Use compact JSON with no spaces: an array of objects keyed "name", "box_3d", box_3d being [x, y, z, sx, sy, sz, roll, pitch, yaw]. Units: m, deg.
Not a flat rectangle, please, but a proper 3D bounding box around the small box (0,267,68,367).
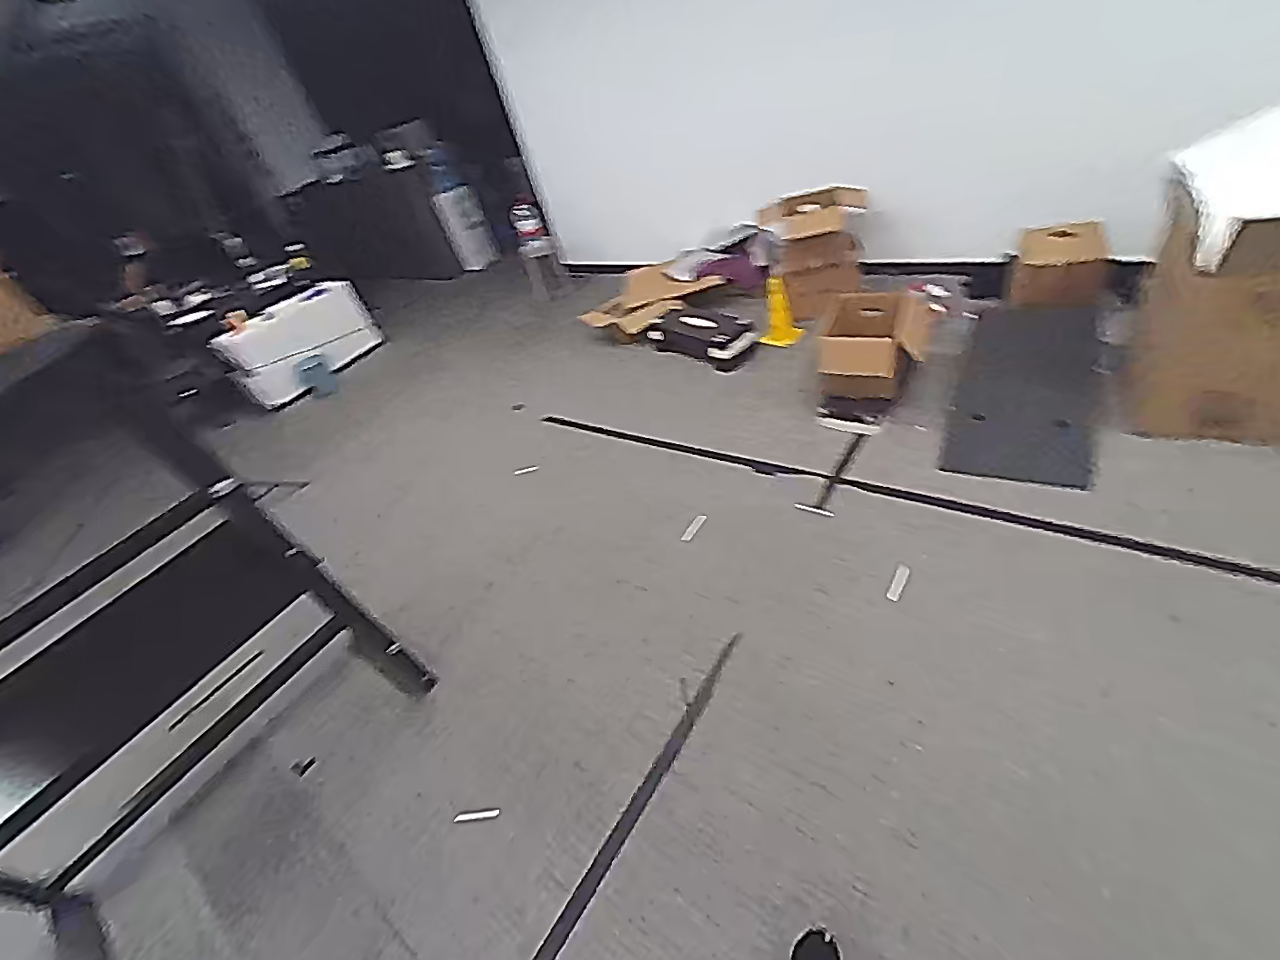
[{"name":"small box","box_3d":[-1.309,-0.328,1.081,0.179,0.176,0.168,15,50,40]}]
